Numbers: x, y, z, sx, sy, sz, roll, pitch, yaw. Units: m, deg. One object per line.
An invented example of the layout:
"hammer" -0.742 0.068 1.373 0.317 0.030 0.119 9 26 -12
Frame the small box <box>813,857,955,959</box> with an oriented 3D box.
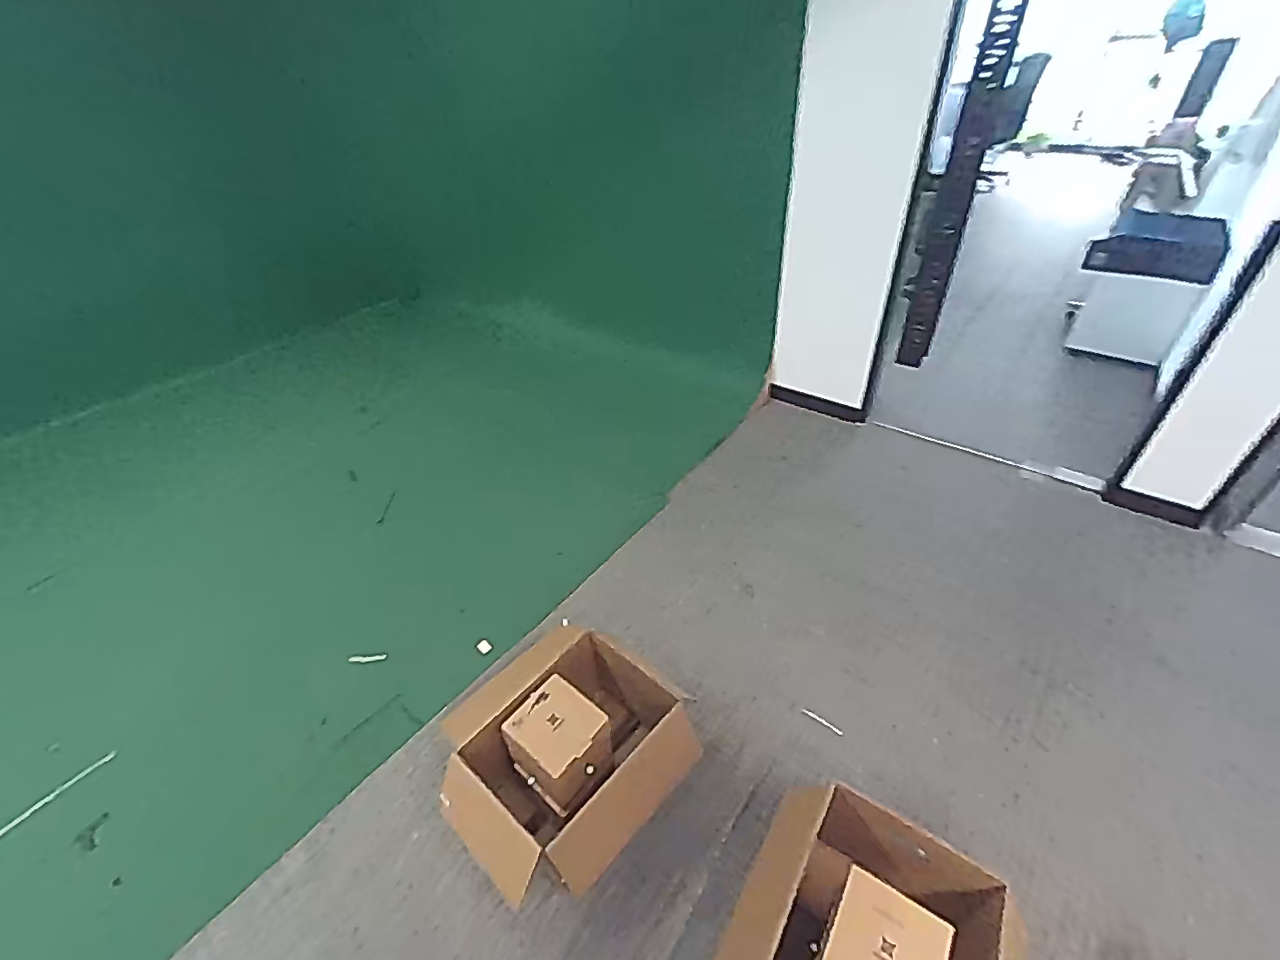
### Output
"small box" 0.402 0.796 0.913 0.168 0.176 0.179 22 48 27
